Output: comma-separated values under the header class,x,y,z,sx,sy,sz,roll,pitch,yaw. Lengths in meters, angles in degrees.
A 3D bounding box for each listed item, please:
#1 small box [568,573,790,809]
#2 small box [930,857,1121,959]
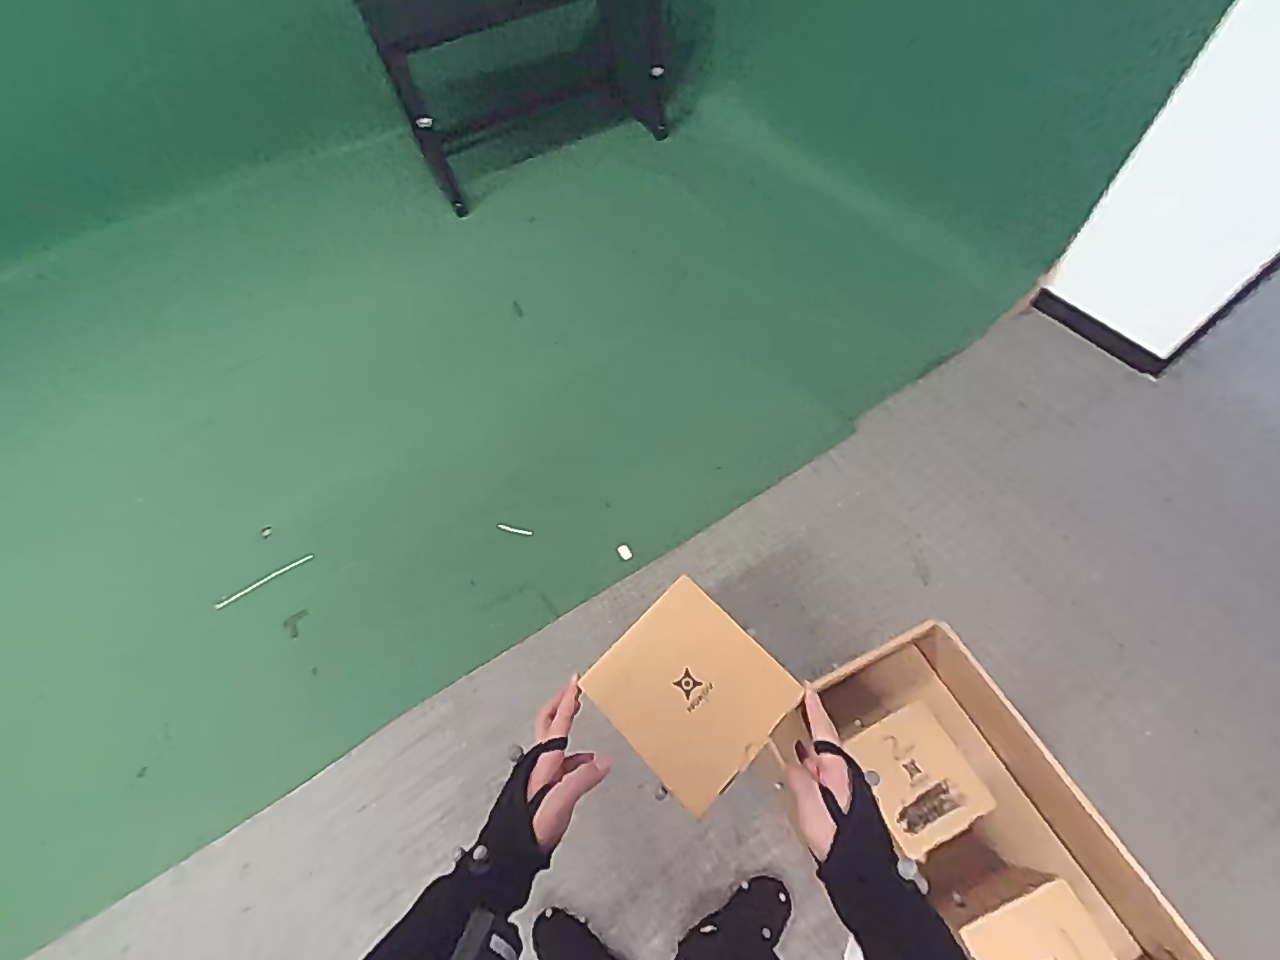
class,x,y,z,sx,sy,sz,roll,pitch,yaw
small box,0.042,0.242,0.637,0.179,0.176,0.168,42,76,17
small box,0.560,0.685,0.793,0.179,0.176,0.168,-21,61,-5
